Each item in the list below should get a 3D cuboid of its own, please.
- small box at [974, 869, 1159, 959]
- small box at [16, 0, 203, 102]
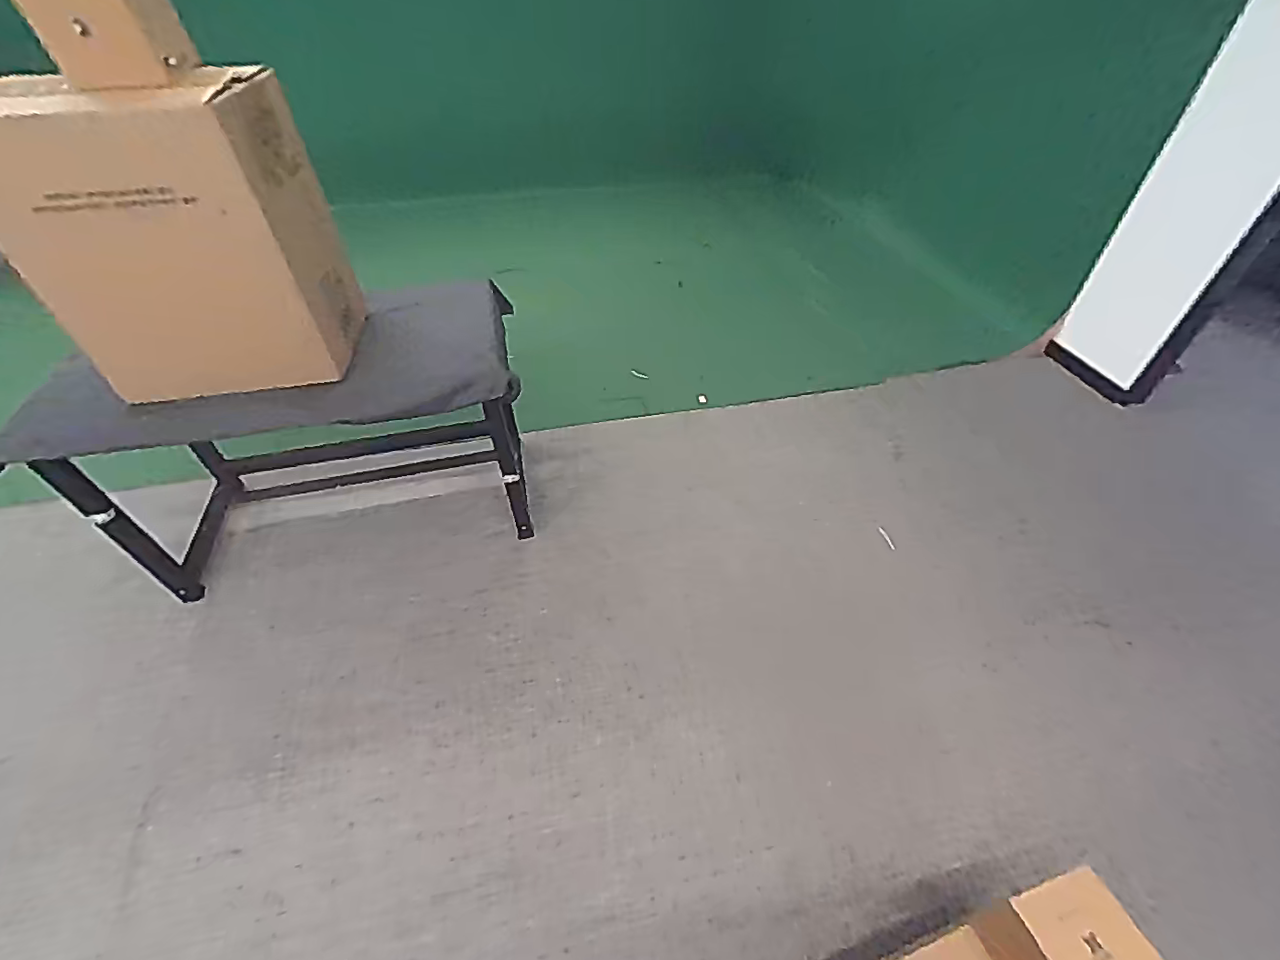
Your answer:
[{"bbox_3d":[0.691,0.774,0.870,0.168,0.176,0.179,-12,42,-13],"label":"small box"},{"bbox_3d":[-1.001,-0.853,1.040,0.179,0.176,0.168,-8,52,-5],"label":"small box"}]
